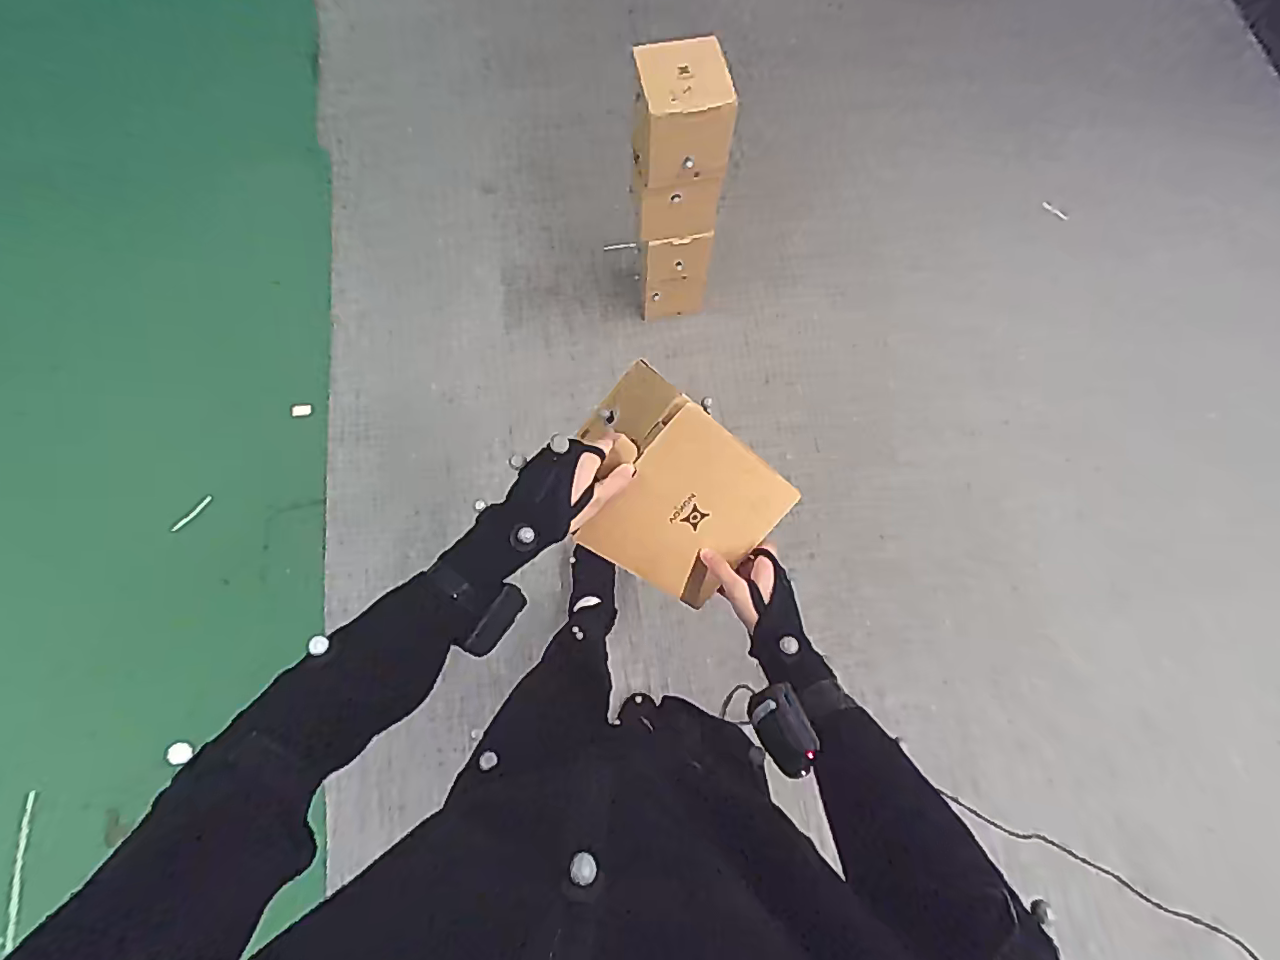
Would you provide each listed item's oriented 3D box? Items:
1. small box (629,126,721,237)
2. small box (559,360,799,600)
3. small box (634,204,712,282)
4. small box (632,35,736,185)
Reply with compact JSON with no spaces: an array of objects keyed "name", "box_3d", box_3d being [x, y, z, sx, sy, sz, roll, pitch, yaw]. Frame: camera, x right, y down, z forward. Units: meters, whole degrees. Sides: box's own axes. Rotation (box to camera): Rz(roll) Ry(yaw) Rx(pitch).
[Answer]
[{"name":"small box","box_3d":[0.073,-0.681,1.231,0.179,0.176,0.168,-9,74,-4]},{"name":"small box","box_3d":[0.030,-0.009,0.591,0.179,0.176,0.168,36,101,-24]},{"name":"small box","box_3d":[0.079,-0.630,1.388,0.168,0.176,0.179,-10,75,-4]},{"name":"small box","box_3d":[0.078,-0.727,1.073,0.168,0.176,0.179,-10,74,-4]}]
